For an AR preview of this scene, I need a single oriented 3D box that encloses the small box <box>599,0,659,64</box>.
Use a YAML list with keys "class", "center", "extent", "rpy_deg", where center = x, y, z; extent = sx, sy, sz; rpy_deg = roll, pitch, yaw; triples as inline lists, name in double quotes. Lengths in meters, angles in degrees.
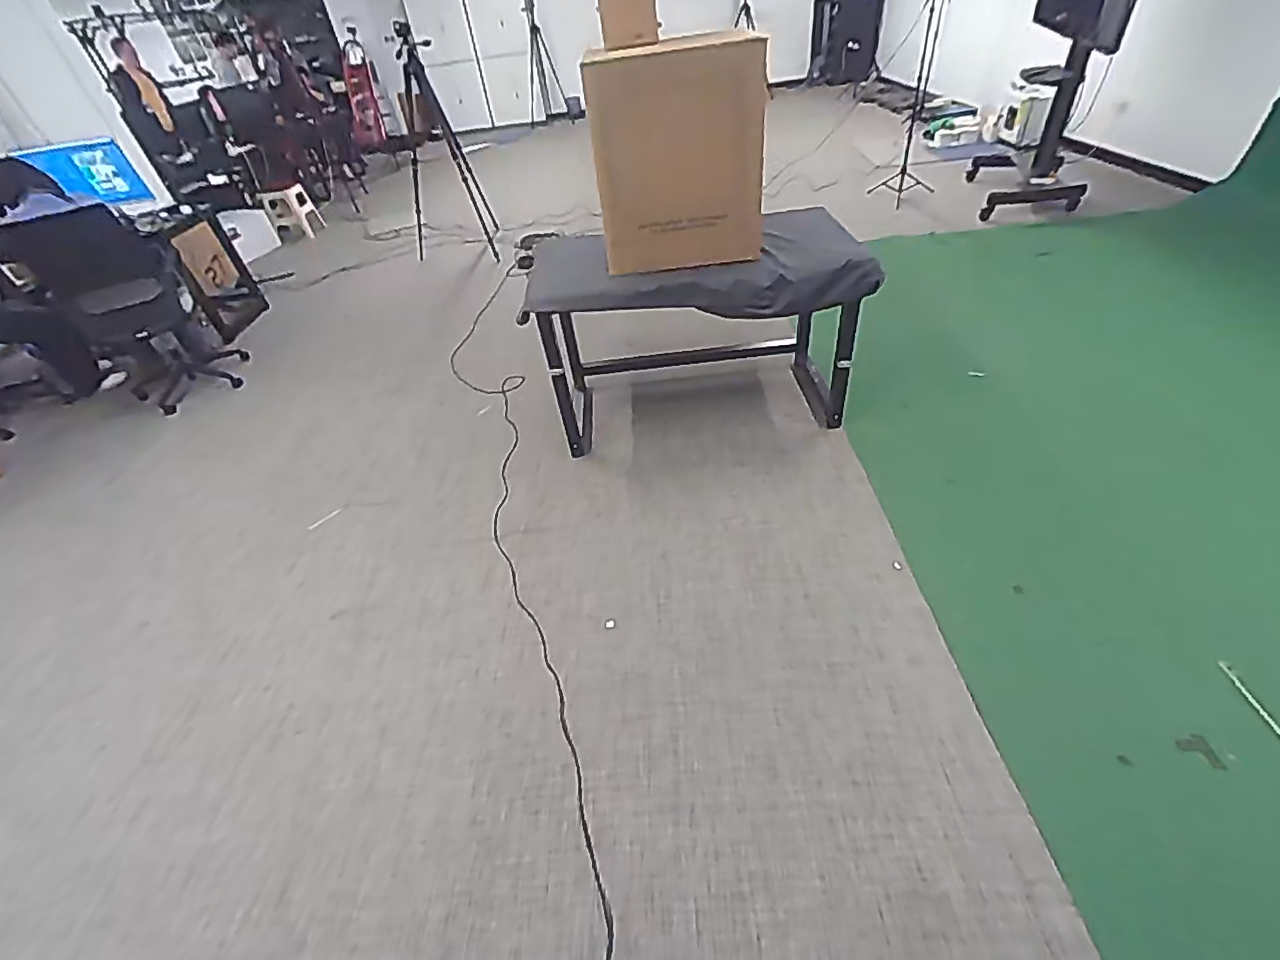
- class: "small box"
  center: [-0.032, -1.385, 1.650]
  extent: [0.168, 0.176, 0.179]
  rpy_deg: [-6, 39, 4]
